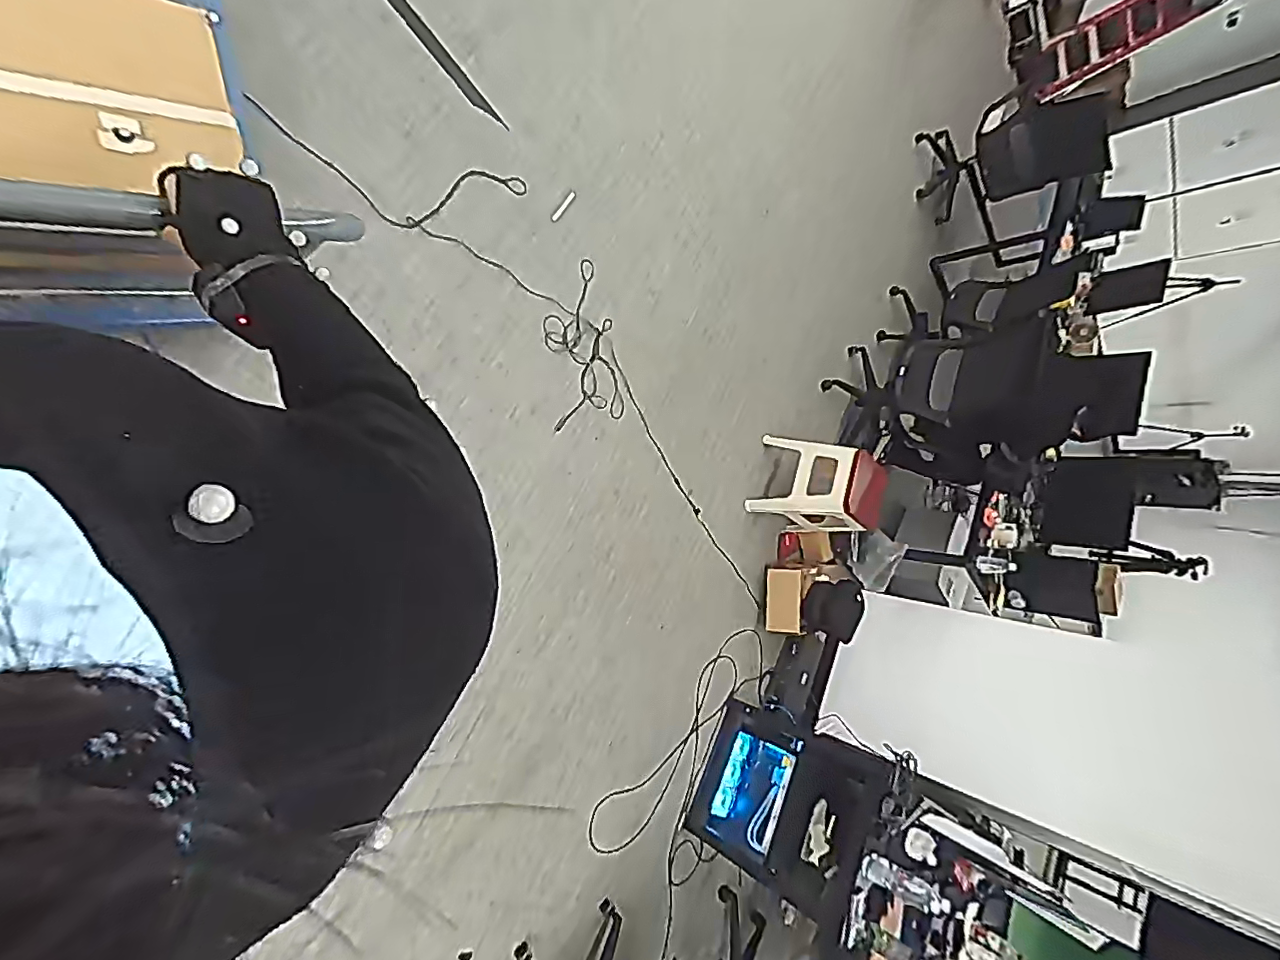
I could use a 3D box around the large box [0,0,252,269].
[{"bbox_3d":[-0.883,-0.517,0.812,0.408,0.320,0.320,-17,104,-42],"label":"large box"}]
